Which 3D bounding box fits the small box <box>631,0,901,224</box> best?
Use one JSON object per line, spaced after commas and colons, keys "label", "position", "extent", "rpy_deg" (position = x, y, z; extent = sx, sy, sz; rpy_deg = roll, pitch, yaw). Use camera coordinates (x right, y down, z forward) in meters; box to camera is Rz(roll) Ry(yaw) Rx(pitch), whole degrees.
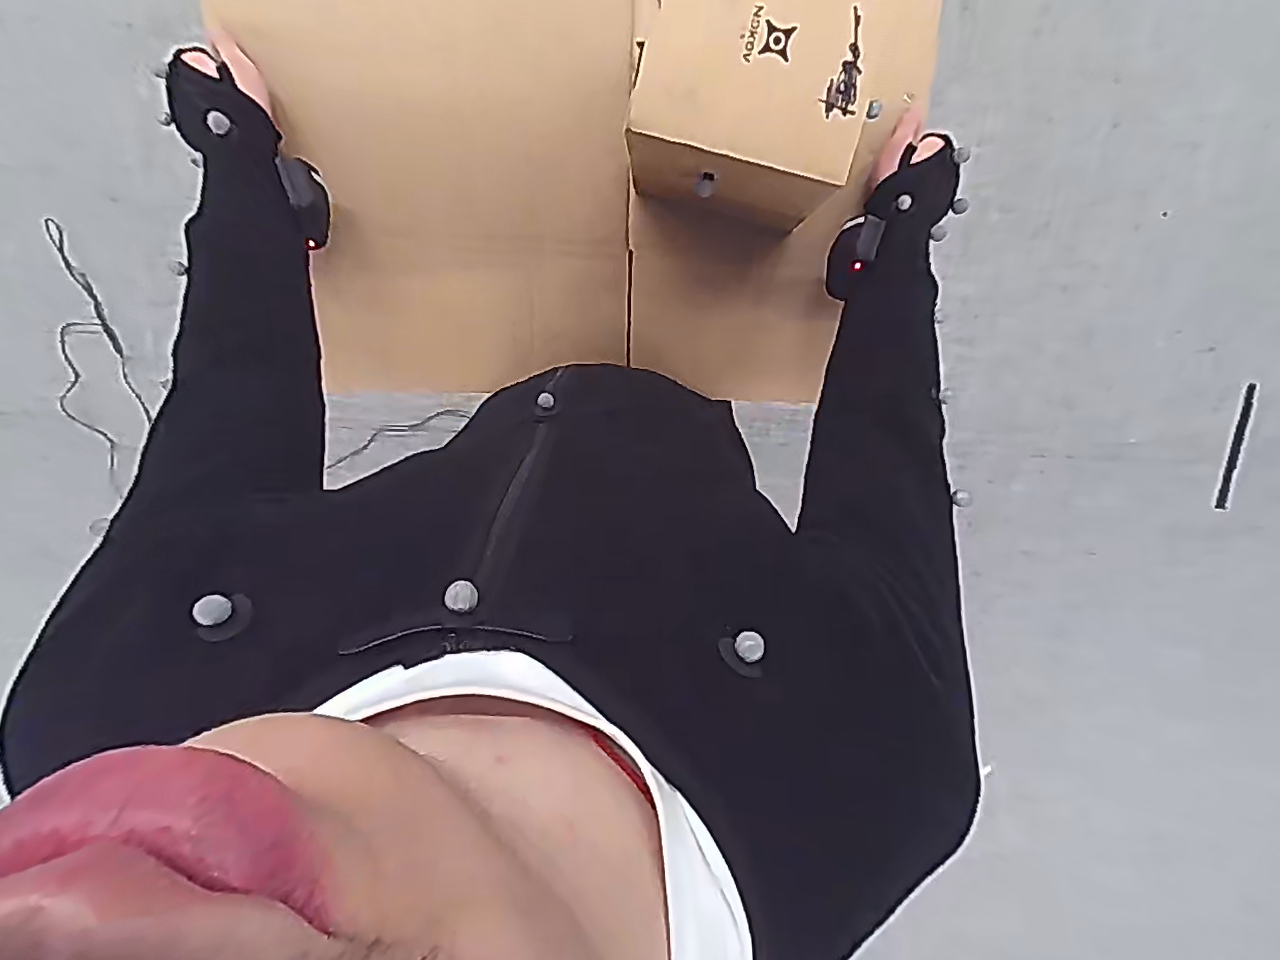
{"label": "small box", "position": [0.099, -0.345, 0.479], "extent": [0.179, 0.176, 0.168], "rpy_deg": [14, 104, -1]}
